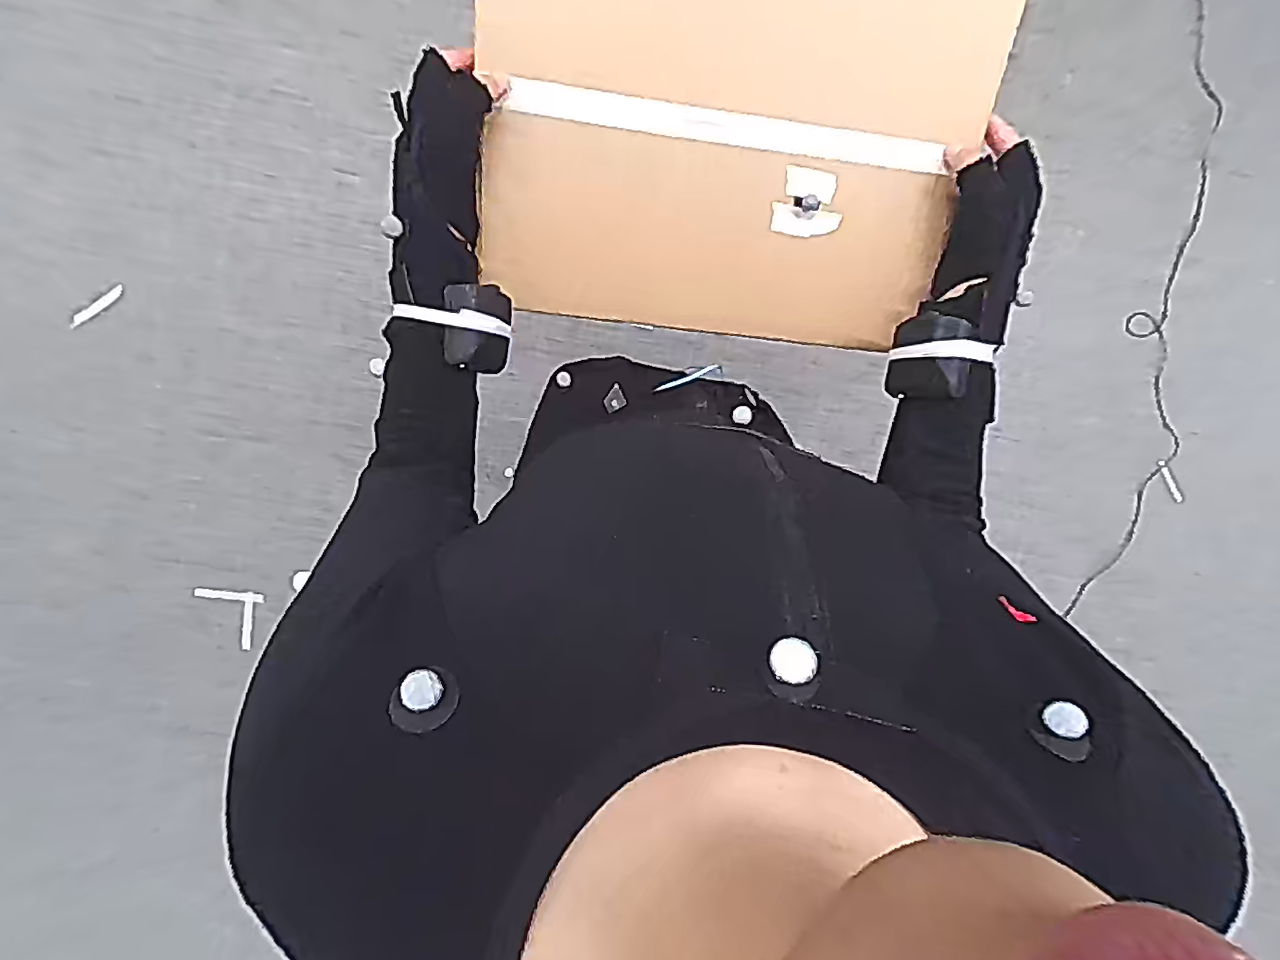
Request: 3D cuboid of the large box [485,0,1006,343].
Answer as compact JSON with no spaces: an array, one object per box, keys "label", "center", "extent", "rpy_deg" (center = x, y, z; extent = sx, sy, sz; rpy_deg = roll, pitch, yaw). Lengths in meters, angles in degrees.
[{"label":"large box","center":[0.062,-0.342,0.576],"extent":[0.408,0.320,0.320],"rpy_deg":[4,114,-7]}]
